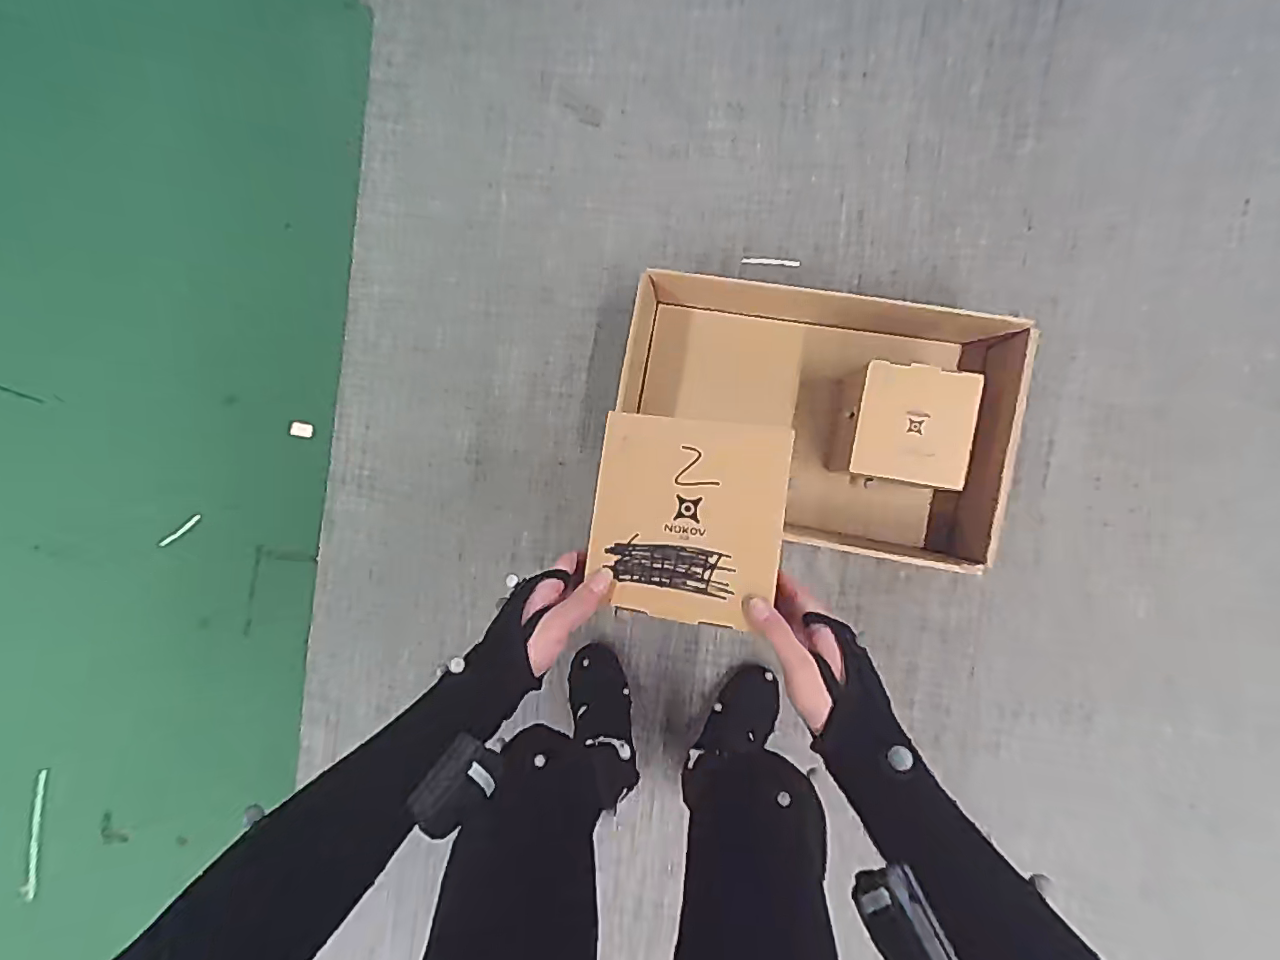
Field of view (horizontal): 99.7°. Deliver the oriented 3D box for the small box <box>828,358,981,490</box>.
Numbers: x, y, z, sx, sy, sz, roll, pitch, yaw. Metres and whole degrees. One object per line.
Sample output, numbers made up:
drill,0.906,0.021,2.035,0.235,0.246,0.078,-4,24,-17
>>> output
small box,0.417,-0.084,0.882,0.168,0.176,0.179,11,91,8
